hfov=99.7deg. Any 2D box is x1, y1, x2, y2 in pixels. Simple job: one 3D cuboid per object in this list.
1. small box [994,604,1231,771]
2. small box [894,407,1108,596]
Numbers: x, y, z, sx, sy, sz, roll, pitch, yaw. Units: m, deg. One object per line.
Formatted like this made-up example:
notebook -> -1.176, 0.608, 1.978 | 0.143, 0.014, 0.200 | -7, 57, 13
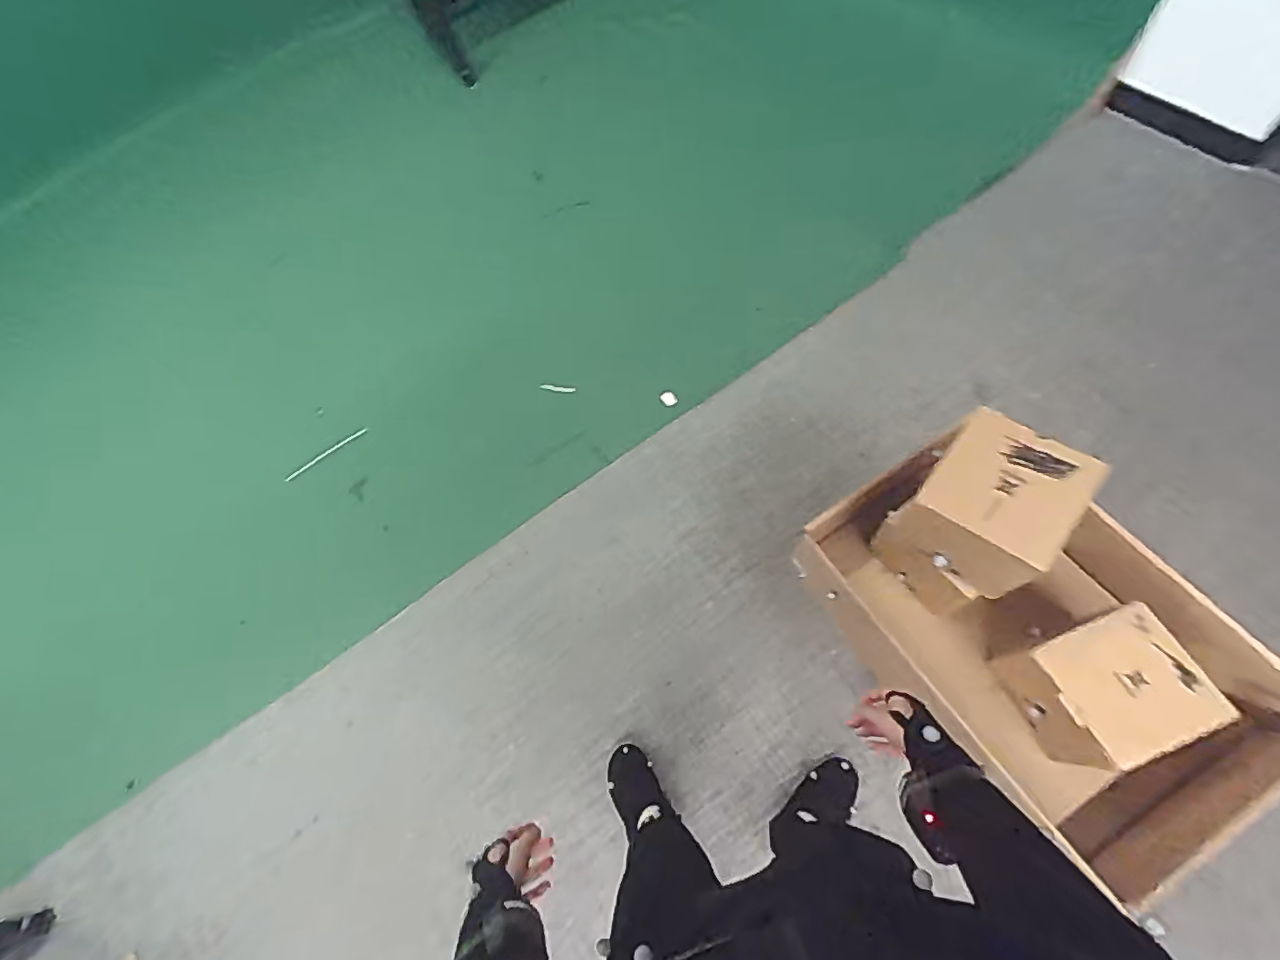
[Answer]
small box -> 0.664, 0.306, 0.796 | 0.179, 0.176, 0.168 | -24, 64, 0
small box -> 0.490, 0.037, 0.765 | 0.168, 0.176, 0.179 | 36, 78, 23
